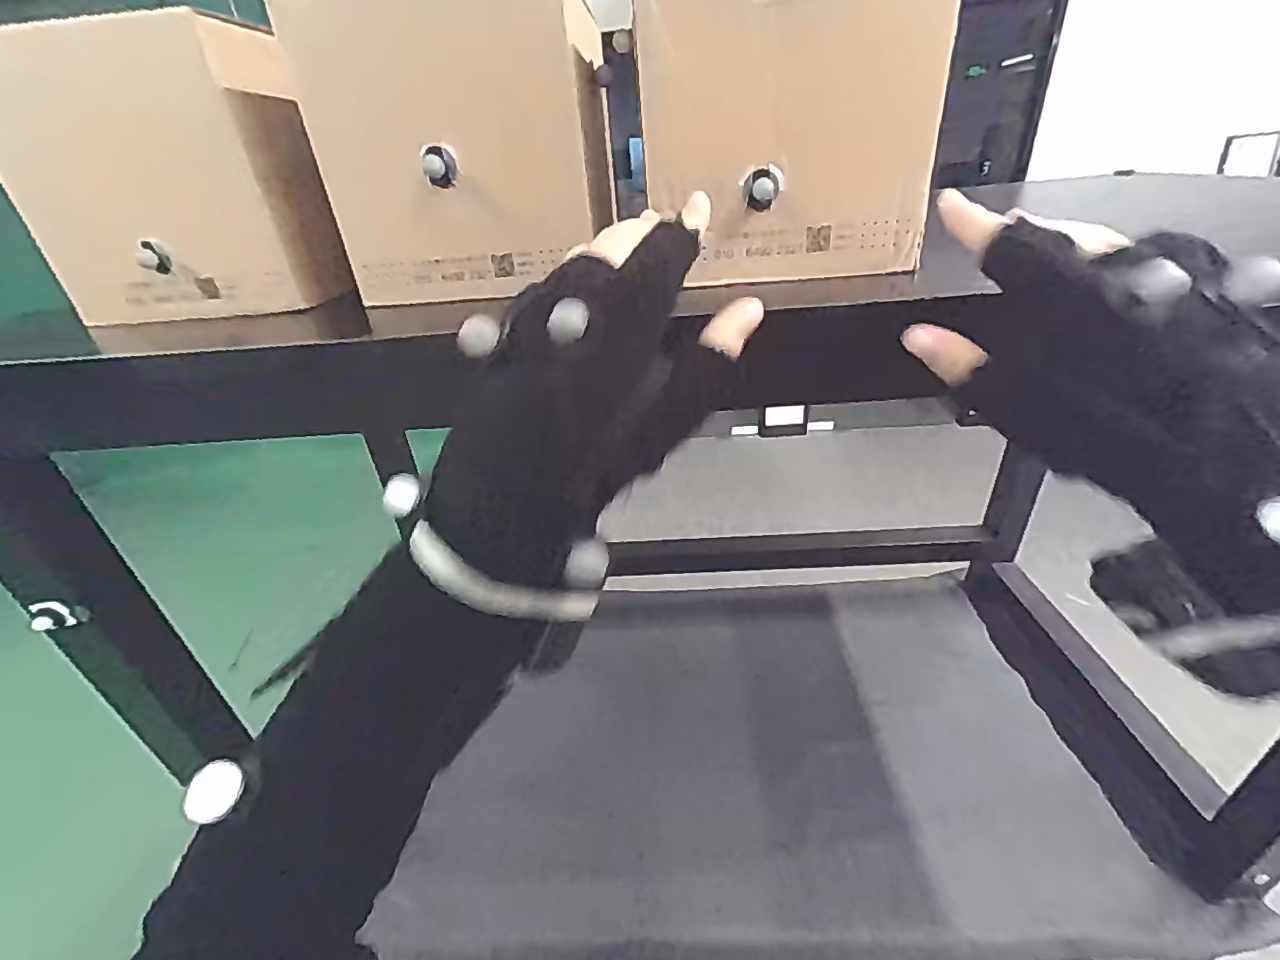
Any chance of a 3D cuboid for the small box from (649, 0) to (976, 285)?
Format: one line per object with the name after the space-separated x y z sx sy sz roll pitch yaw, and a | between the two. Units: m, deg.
0.092 -0.236 0.370 0.168 0.176 0.179 -2 31 4 | small box
